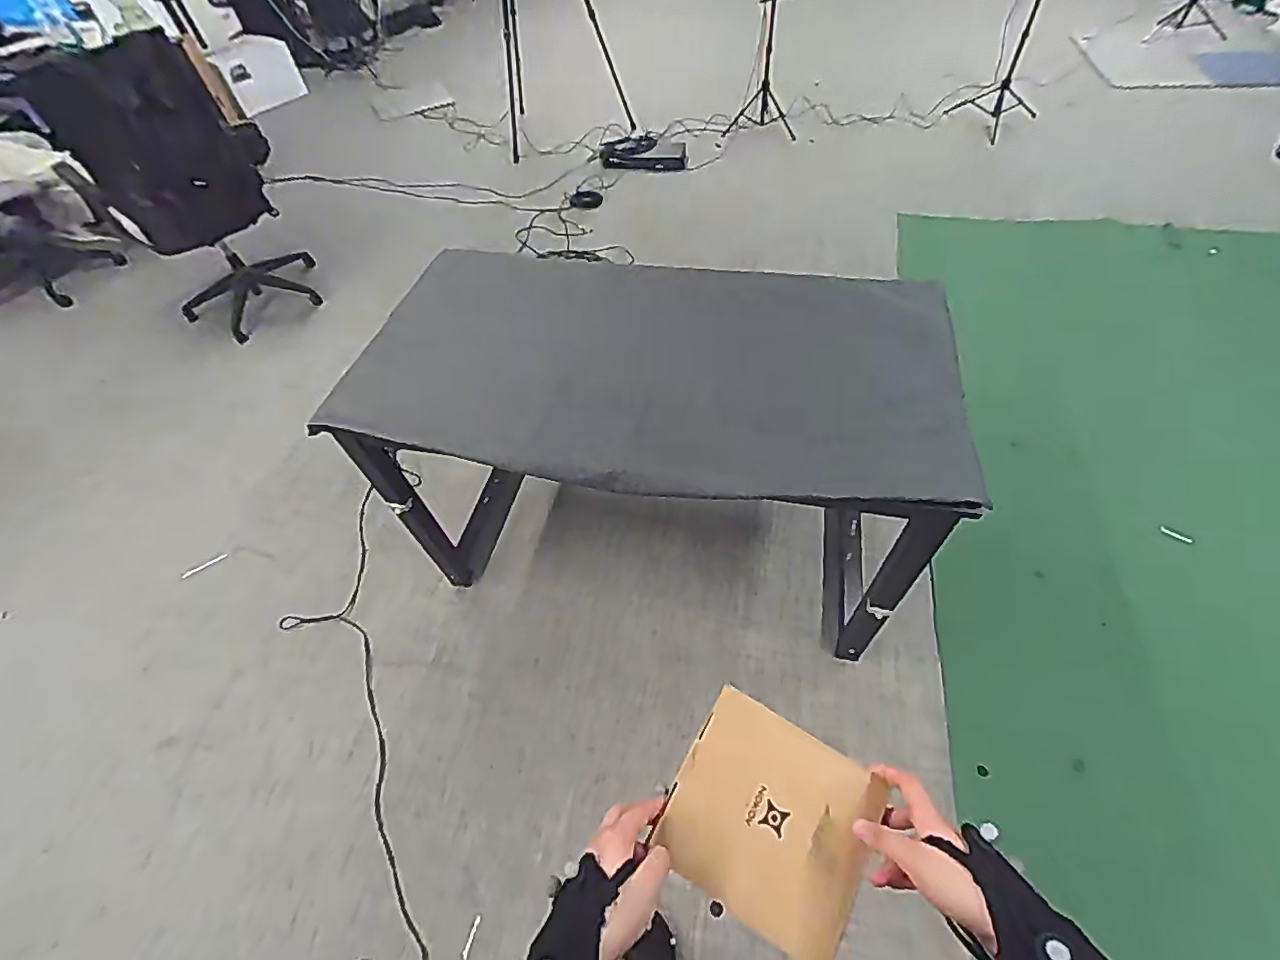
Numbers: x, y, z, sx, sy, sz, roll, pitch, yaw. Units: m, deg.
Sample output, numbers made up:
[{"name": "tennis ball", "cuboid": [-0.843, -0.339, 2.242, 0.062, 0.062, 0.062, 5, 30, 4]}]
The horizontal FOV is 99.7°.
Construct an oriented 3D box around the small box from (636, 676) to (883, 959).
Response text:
[{"name": "small box", "cuboid": [0.113, 0.335, 0.563, 0.179, 0.176, 0.168, 27, 67, 16]}]
